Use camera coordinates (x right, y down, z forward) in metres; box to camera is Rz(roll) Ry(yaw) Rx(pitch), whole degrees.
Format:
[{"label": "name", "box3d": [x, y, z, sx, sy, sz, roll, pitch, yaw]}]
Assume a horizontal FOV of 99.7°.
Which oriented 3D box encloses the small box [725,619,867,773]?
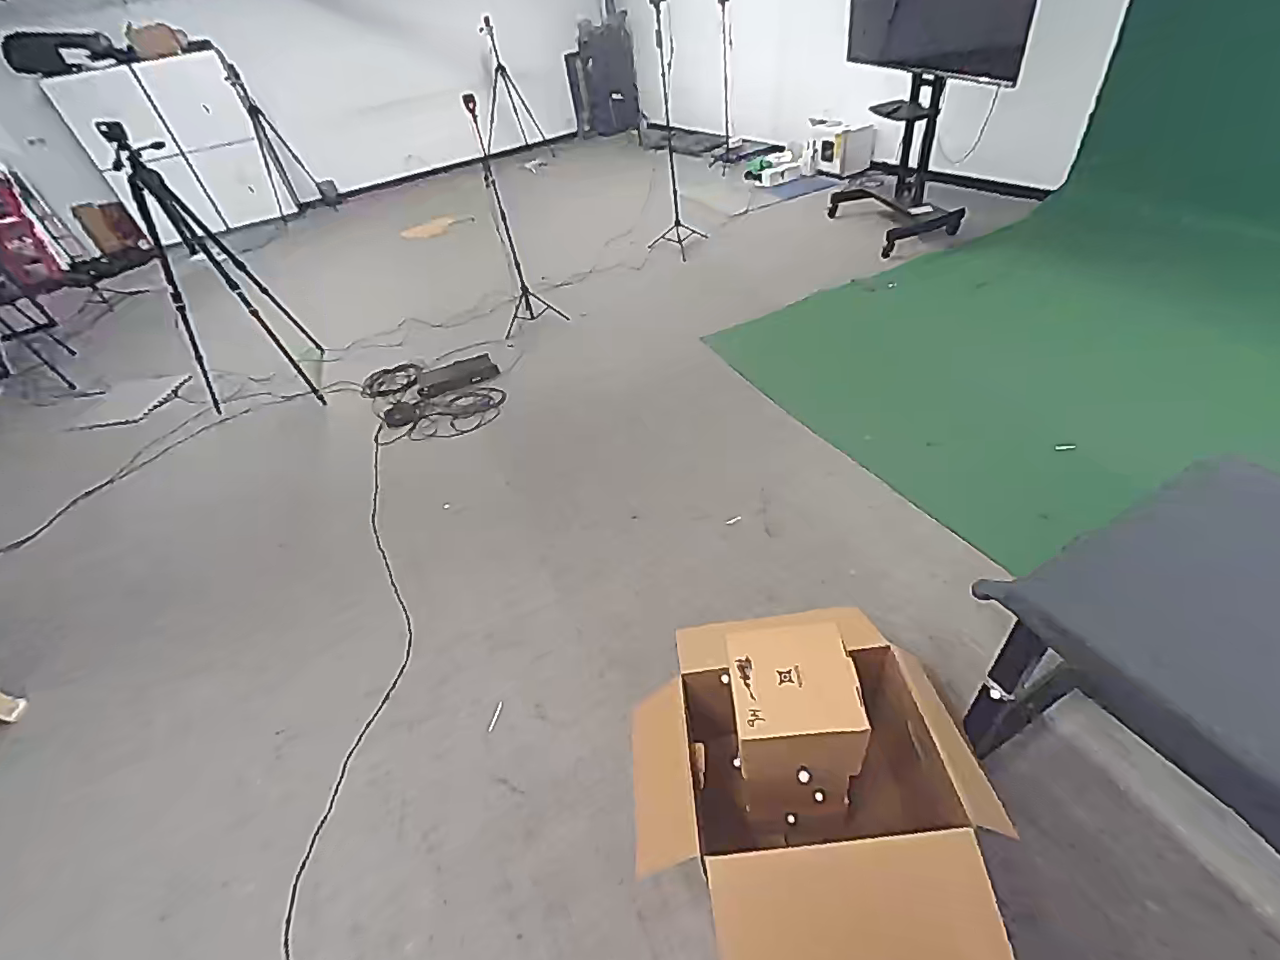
[{"label": "small box", "box3d": [0.228, 0.335, 0.834, 0.179, 0.176, 0.168, -7, 43, 7]}]
